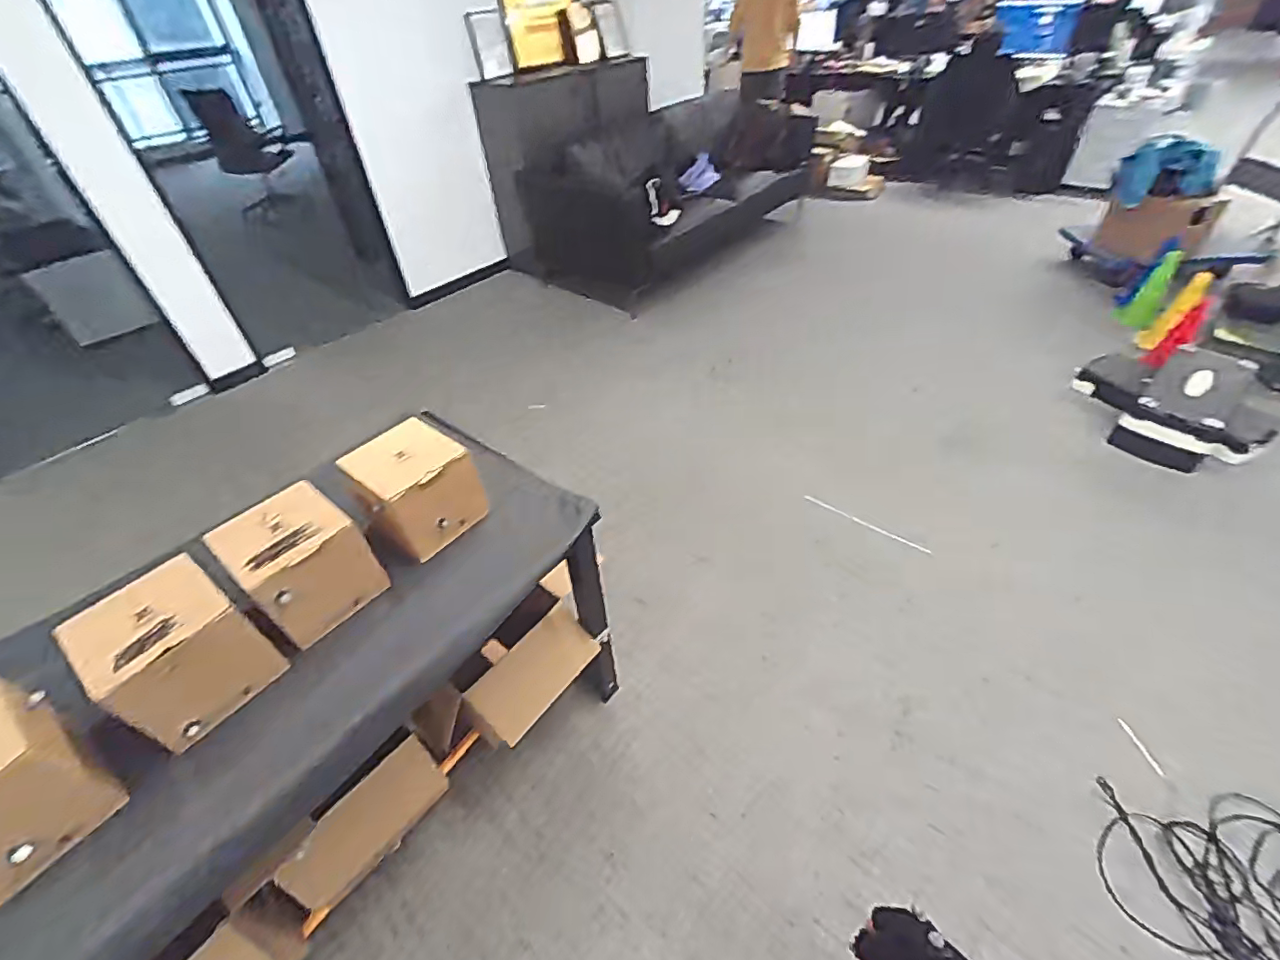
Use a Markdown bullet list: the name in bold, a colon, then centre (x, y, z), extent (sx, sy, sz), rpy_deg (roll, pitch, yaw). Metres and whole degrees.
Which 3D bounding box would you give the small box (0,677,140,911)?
- **small box**: centre (-0.792, 0.389, 0.670), extent (0.179, 0.176, 0.168), rpy_deg (23, 51, 27)

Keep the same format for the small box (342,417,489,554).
- **small box**: centre (-0.421, 0.012, 1.034), extent (0.179, 0.176, 0.168), rpy_deg (26, 52, 28)
